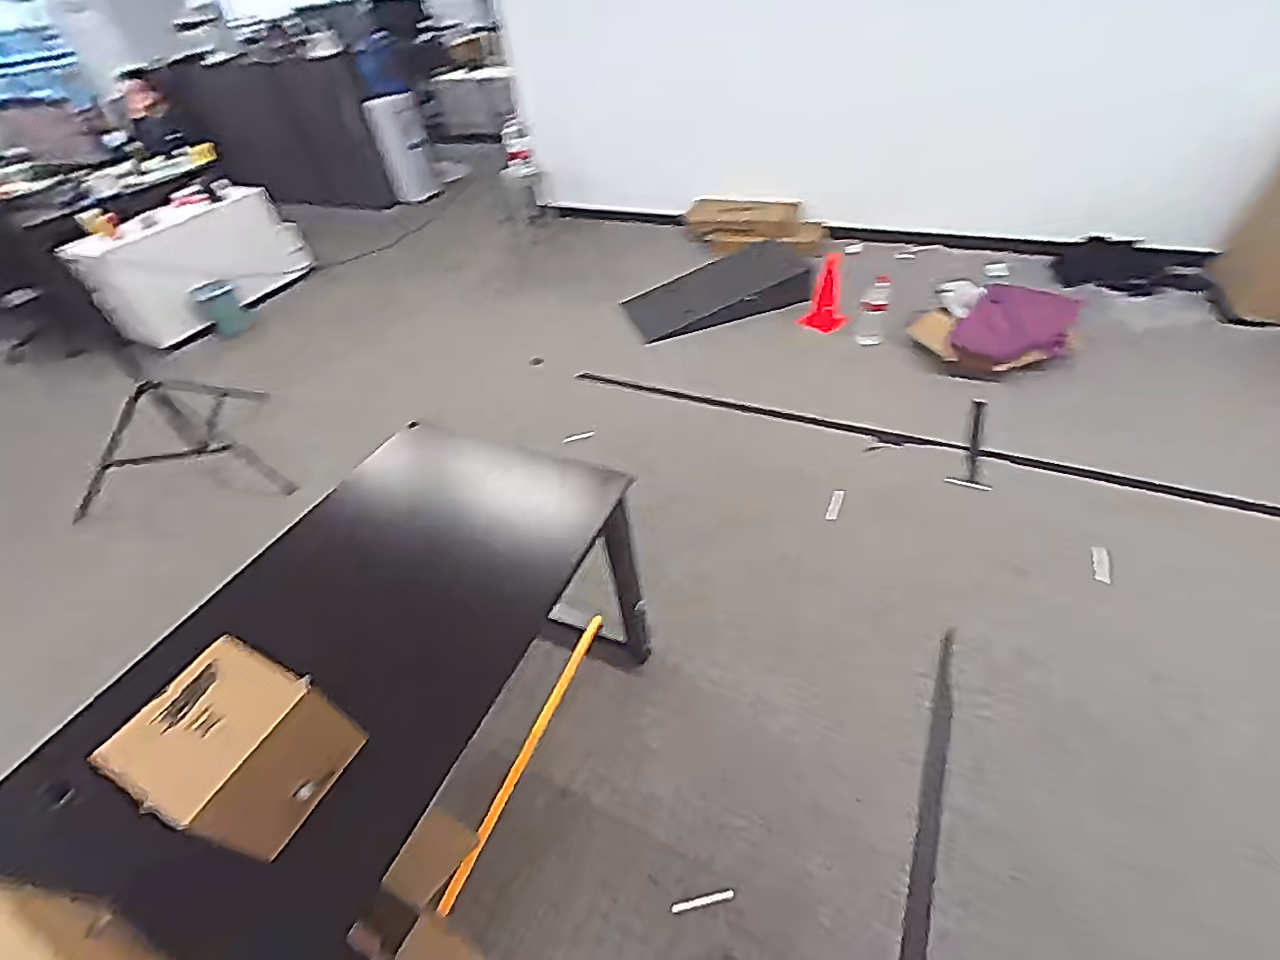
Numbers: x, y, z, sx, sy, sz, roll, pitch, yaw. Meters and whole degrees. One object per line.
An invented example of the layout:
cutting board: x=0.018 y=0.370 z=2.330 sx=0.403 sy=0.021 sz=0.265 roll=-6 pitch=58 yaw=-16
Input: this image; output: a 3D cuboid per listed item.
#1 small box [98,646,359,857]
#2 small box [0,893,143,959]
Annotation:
small box: x=-0.515 y=0.353 z=0.703 sx=0.179 sy=0.176 sz=0.168 roll=15 pitch=49 yaw=21
small box: x=-0.625 y=0.544 z=0.521 sx=0.168 sy=0.176 sz=0.179 roll=13 pitch=48 yaw=21
